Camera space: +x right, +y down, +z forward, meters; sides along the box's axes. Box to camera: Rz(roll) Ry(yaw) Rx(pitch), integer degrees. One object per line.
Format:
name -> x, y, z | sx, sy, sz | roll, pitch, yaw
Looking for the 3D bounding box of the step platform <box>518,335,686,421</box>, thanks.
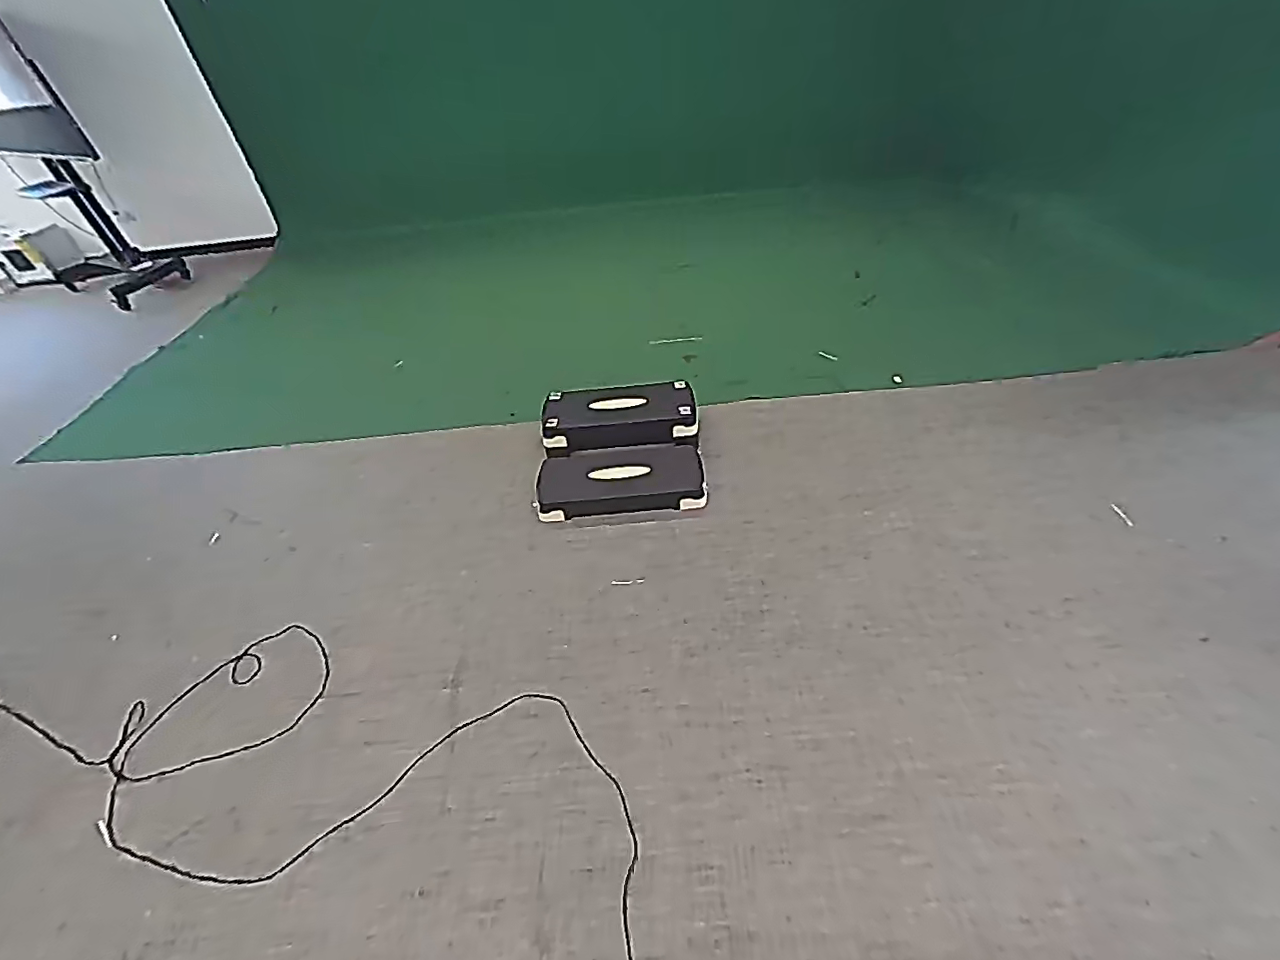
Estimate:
step platform -> -0.149, -0.429, 2.271 | 0.684, 0.204, 0.286 | -6, 43, 2
